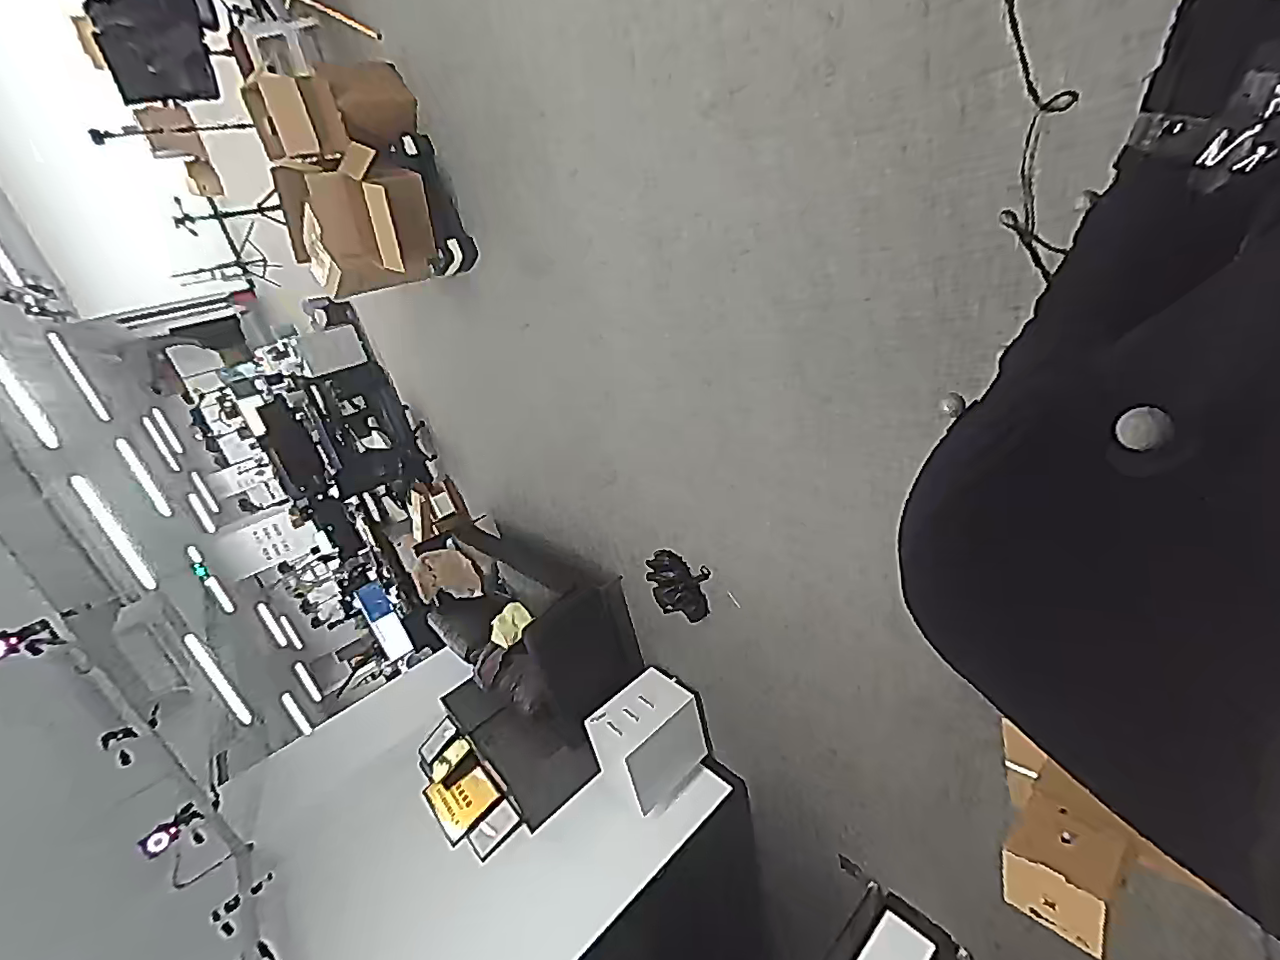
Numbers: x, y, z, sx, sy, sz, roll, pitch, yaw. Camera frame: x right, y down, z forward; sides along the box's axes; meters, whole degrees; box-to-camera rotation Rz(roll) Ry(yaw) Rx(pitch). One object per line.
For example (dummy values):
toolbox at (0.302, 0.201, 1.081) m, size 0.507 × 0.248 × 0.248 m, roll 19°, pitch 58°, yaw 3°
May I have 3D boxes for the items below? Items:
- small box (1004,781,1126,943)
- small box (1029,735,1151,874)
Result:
small box at (0.876, 0.774, 1.117) m, size 0.168 × 0.176 × 0.179 m, roll 12°, pitch 123°, yaw 50°
small box at (0.997, 0.707, 1.204) m, size 0.179 × 0.176 × 0.168 m, roll 12°, pitch 124°, yaw 49°
